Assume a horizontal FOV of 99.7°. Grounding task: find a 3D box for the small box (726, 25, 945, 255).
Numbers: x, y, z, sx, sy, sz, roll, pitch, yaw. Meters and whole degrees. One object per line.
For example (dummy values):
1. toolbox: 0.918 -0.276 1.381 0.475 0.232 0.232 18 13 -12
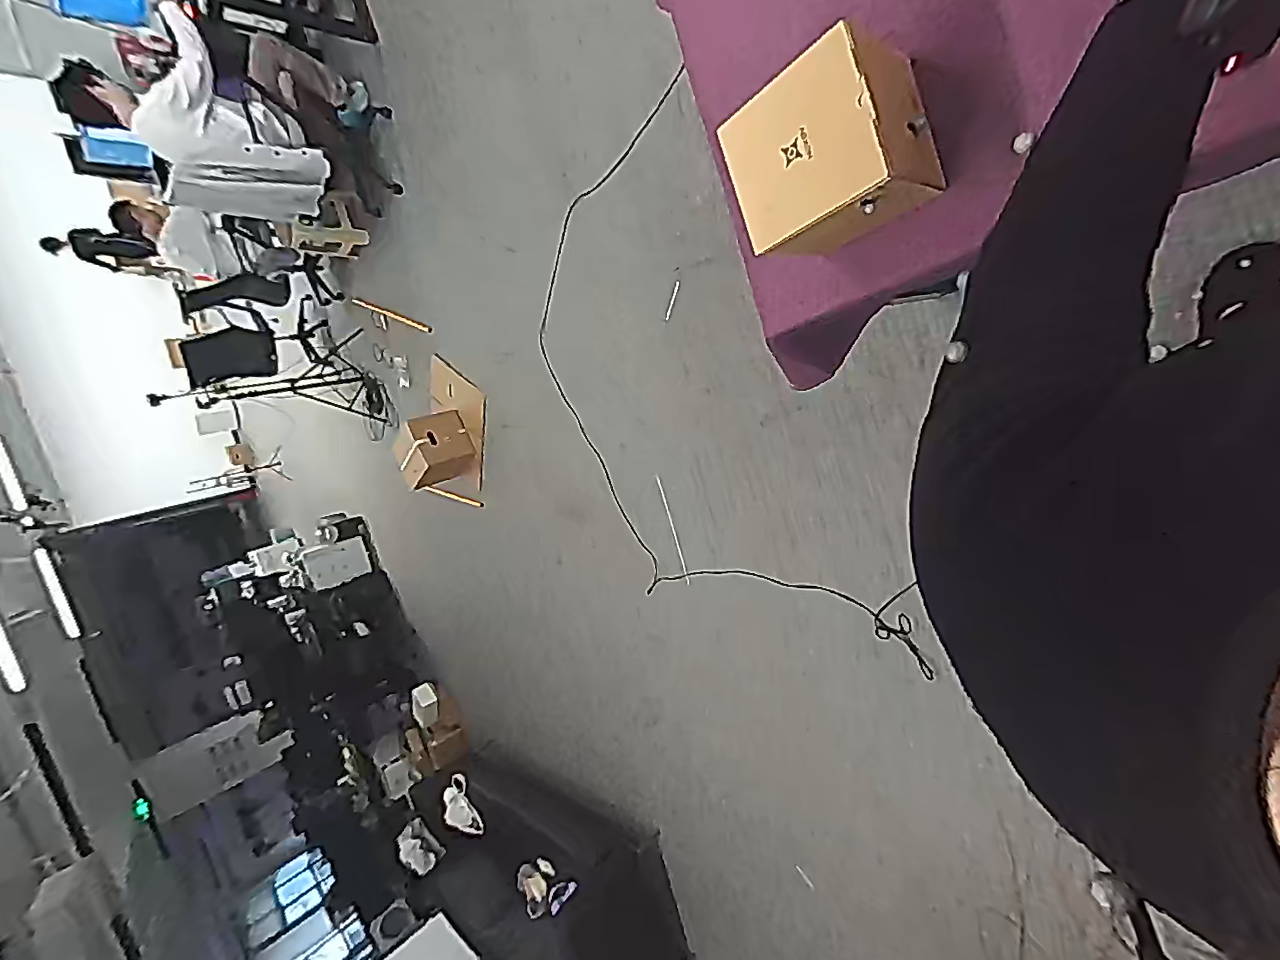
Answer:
1. small box: 0.242 -0.396 0.673 0.179 0.176 0.168 -15 93 49
